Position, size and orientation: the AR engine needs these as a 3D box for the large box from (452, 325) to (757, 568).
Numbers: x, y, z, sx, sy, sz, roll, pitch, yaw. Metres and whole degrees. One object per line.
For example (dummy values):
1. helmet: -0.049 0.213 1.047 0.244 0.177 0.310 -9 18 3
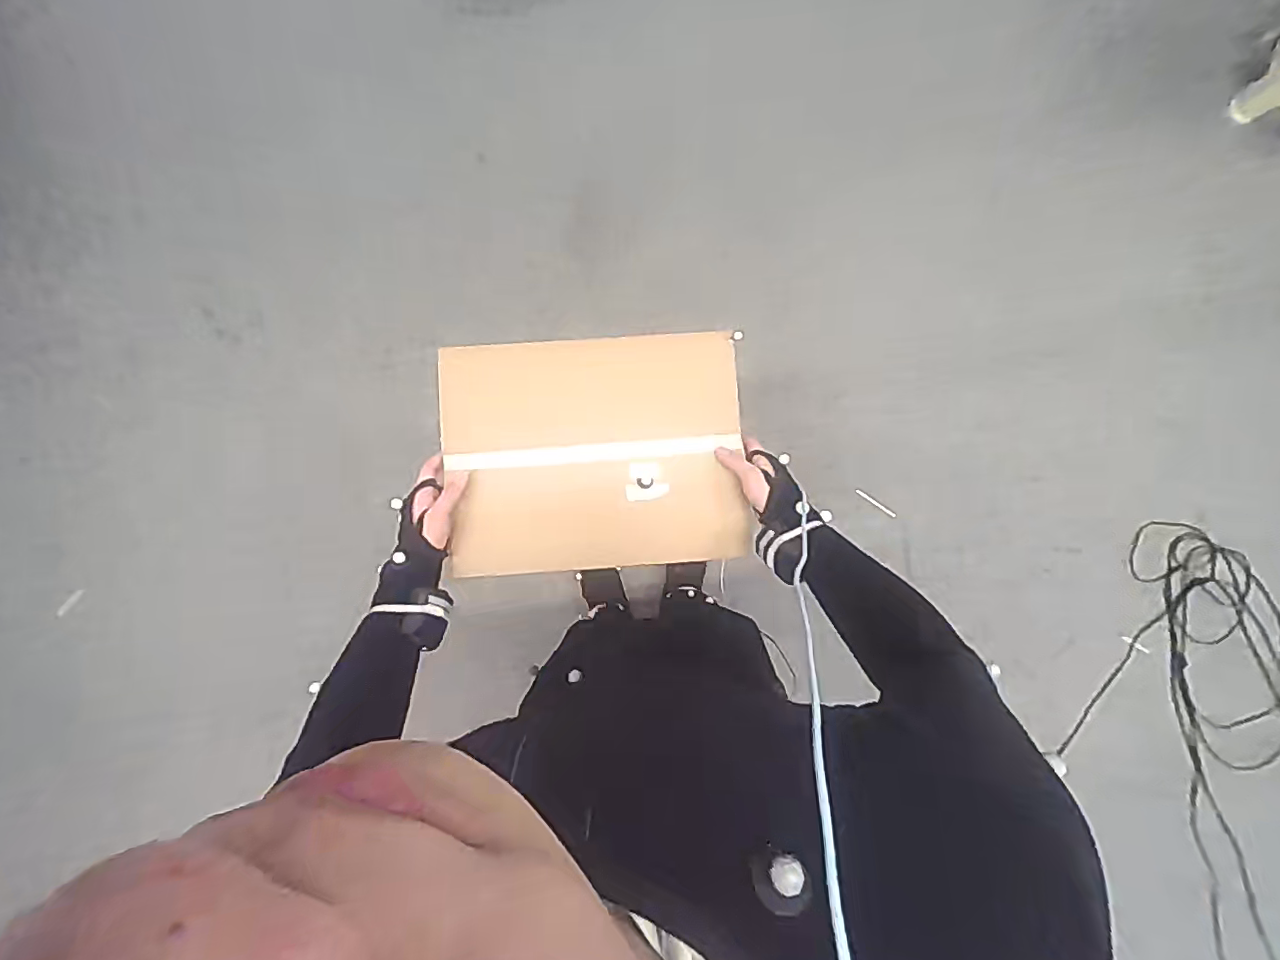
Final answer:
1. large box: -0.055 -0.040 0.884 0.408 0.320 0.320 -4 87 -2
